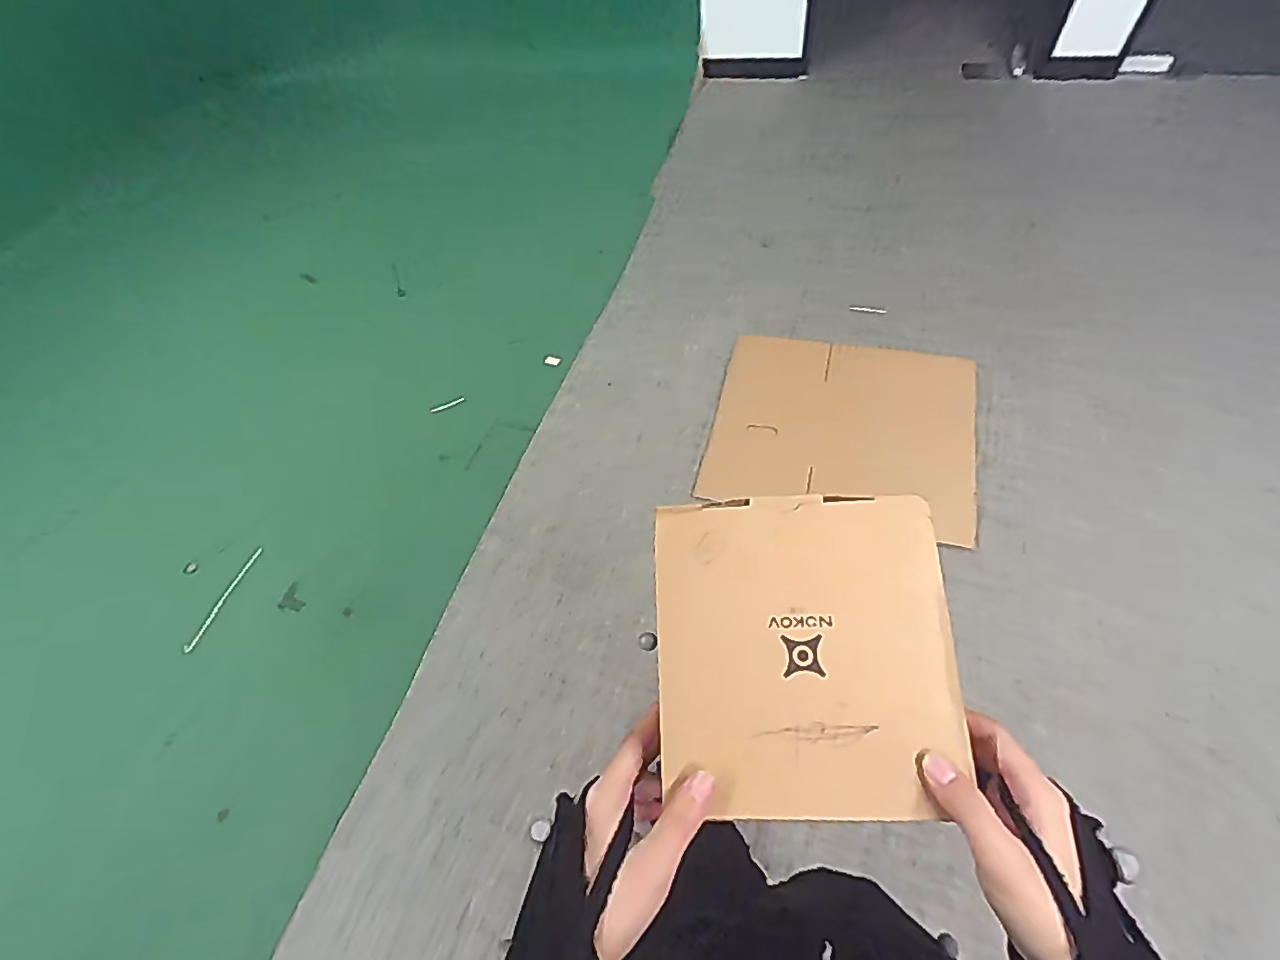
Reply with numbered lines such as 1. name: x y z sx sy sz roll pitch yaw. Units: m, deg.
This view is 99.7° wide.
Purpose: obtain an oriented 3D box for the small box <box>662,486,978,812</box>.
1. small box: 0.101 0.110 0.384 0.168 0.176 0.179 -2 75 6
